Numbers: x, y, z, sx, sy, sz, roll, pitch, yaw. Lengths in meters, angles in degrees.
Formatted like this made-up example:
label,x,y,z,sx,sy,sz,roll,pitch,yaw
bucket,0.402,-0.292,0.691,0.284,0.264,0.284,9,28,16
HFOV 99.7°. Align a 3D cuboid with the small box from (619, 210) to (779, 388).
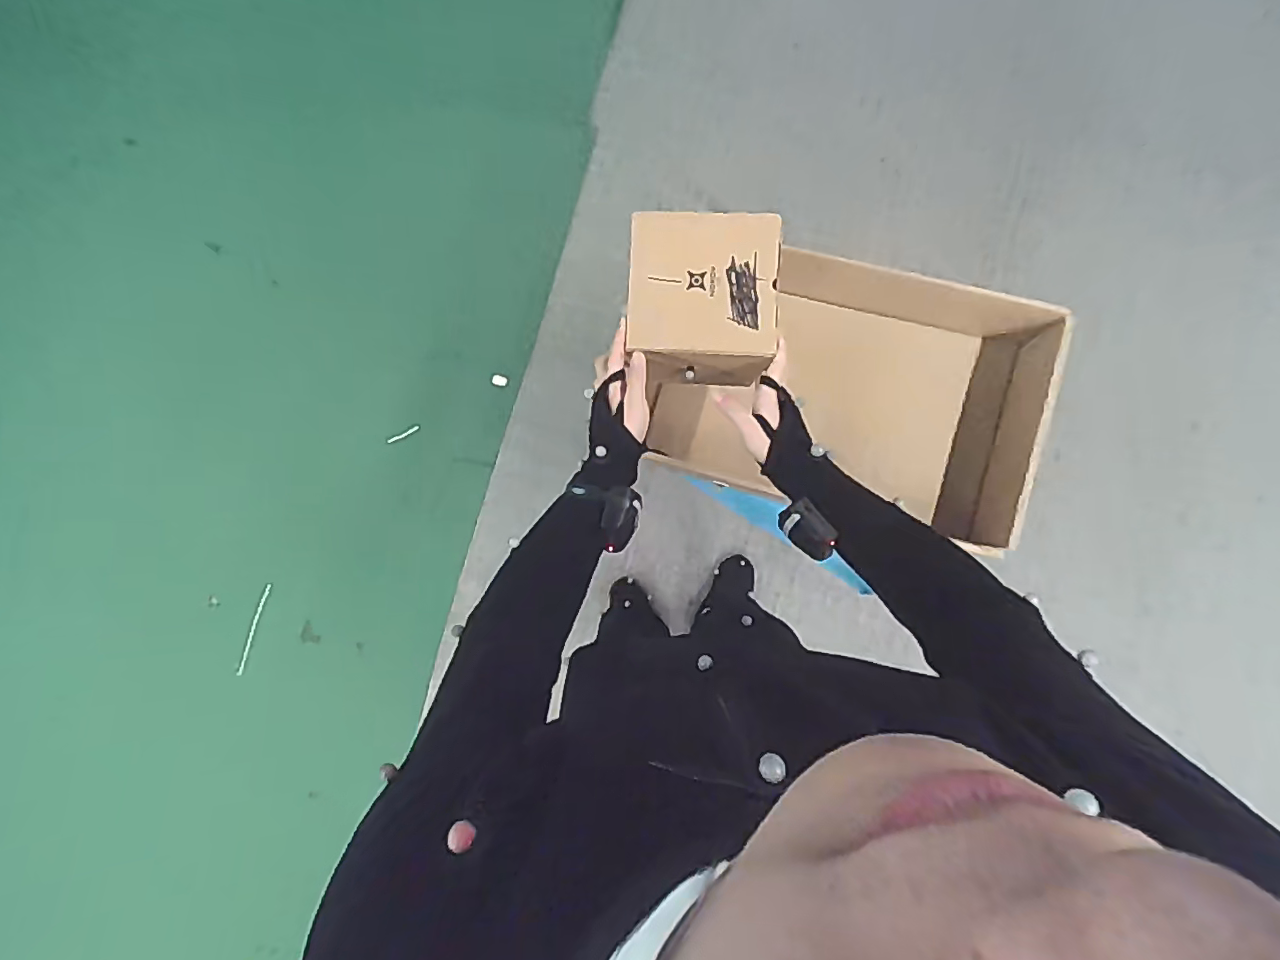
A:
label,x,y,z,sx,sy,sz,roll,pitch,yaw
small box,0.069,-0.217,0.689,0.179,0.176,0.168,2,87,2
